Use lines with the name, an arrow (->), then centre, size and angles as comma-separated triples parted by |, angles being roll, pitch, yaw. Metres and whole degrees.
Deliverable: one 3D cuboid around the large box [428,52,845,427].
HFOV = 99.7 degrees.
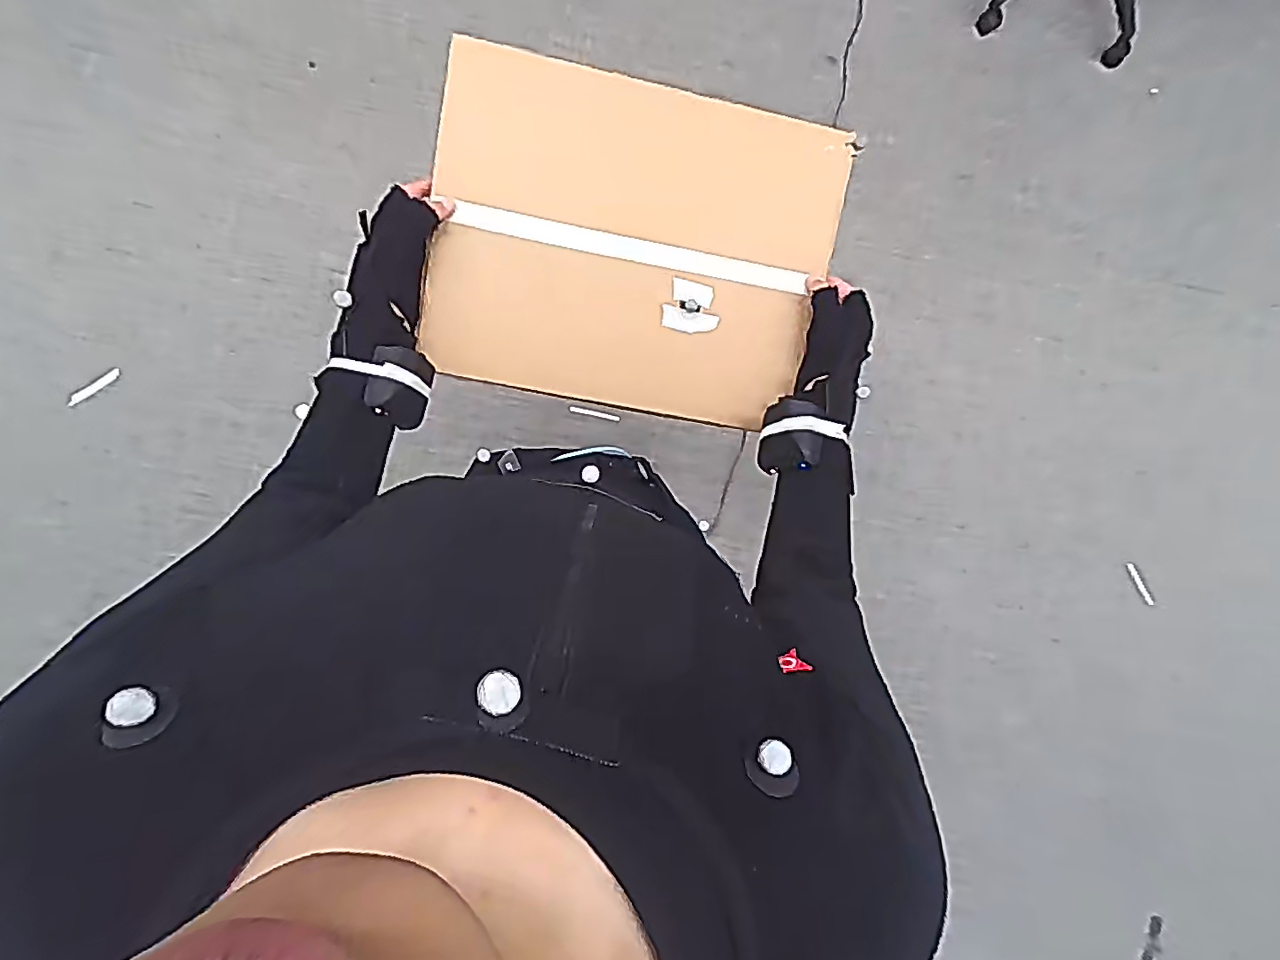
large box -> -0.018, -0.259, 0.709 | 0.408, 0.320, 0.320 | 10, 98, -7
